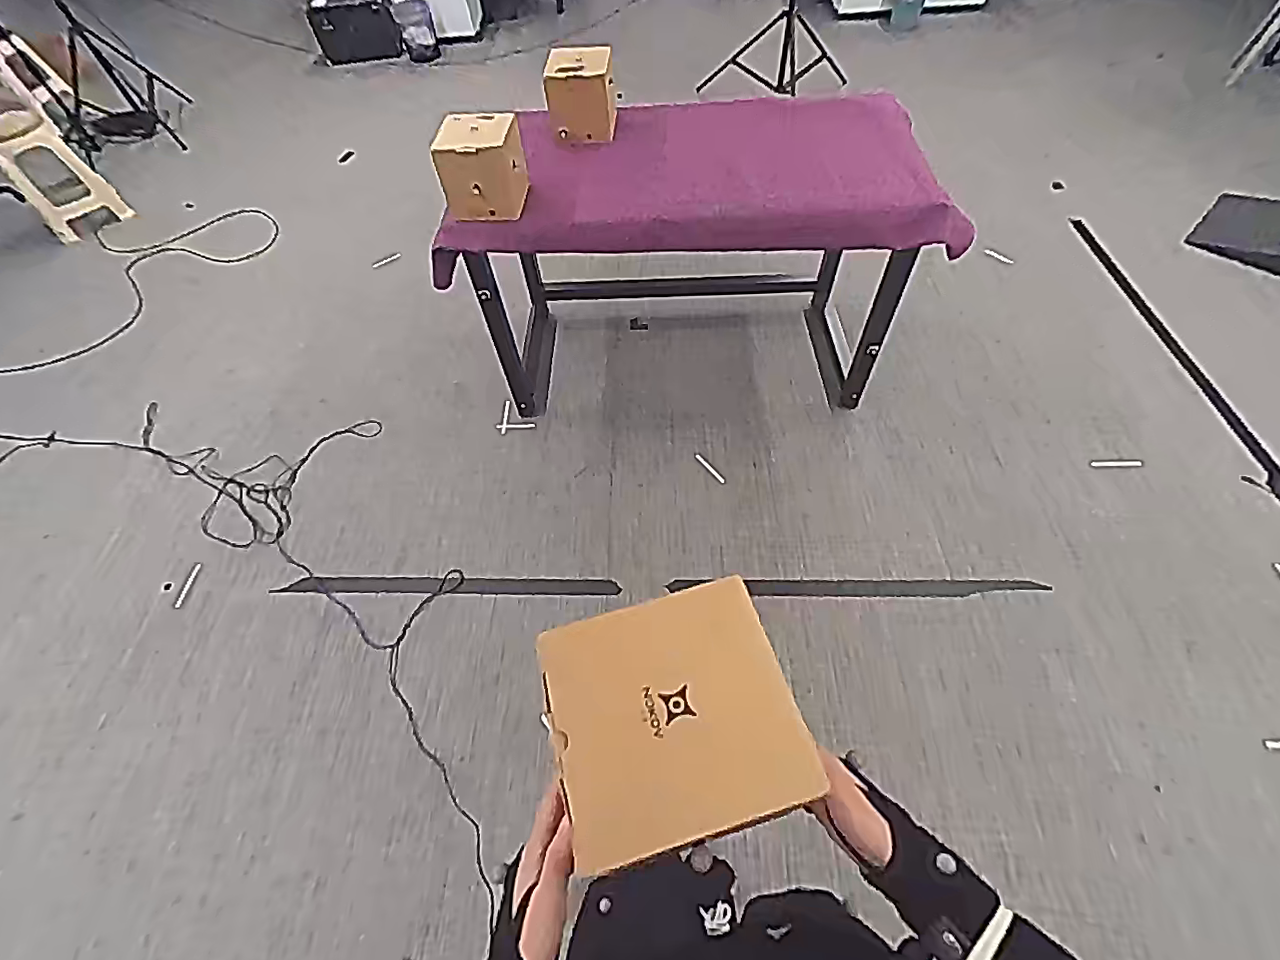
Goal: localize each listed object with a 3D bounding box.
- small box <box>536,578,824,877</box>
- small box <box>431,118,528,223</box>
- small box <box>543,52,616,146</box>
[{"bbox_3d":[0.026,0.211,0.463,0.179,0.176,0.168,-16,56,-5],"label":"small box"},{"bbox_3d":[-0.375,-0.741,1.305,0.168,0.176,0.179,1,56,3],"label":"small box"},{"bbox_3d":[-0.160,-1.051,1.499,0.168,0.176,0.179,1,57,4],"label":"small box"}]
